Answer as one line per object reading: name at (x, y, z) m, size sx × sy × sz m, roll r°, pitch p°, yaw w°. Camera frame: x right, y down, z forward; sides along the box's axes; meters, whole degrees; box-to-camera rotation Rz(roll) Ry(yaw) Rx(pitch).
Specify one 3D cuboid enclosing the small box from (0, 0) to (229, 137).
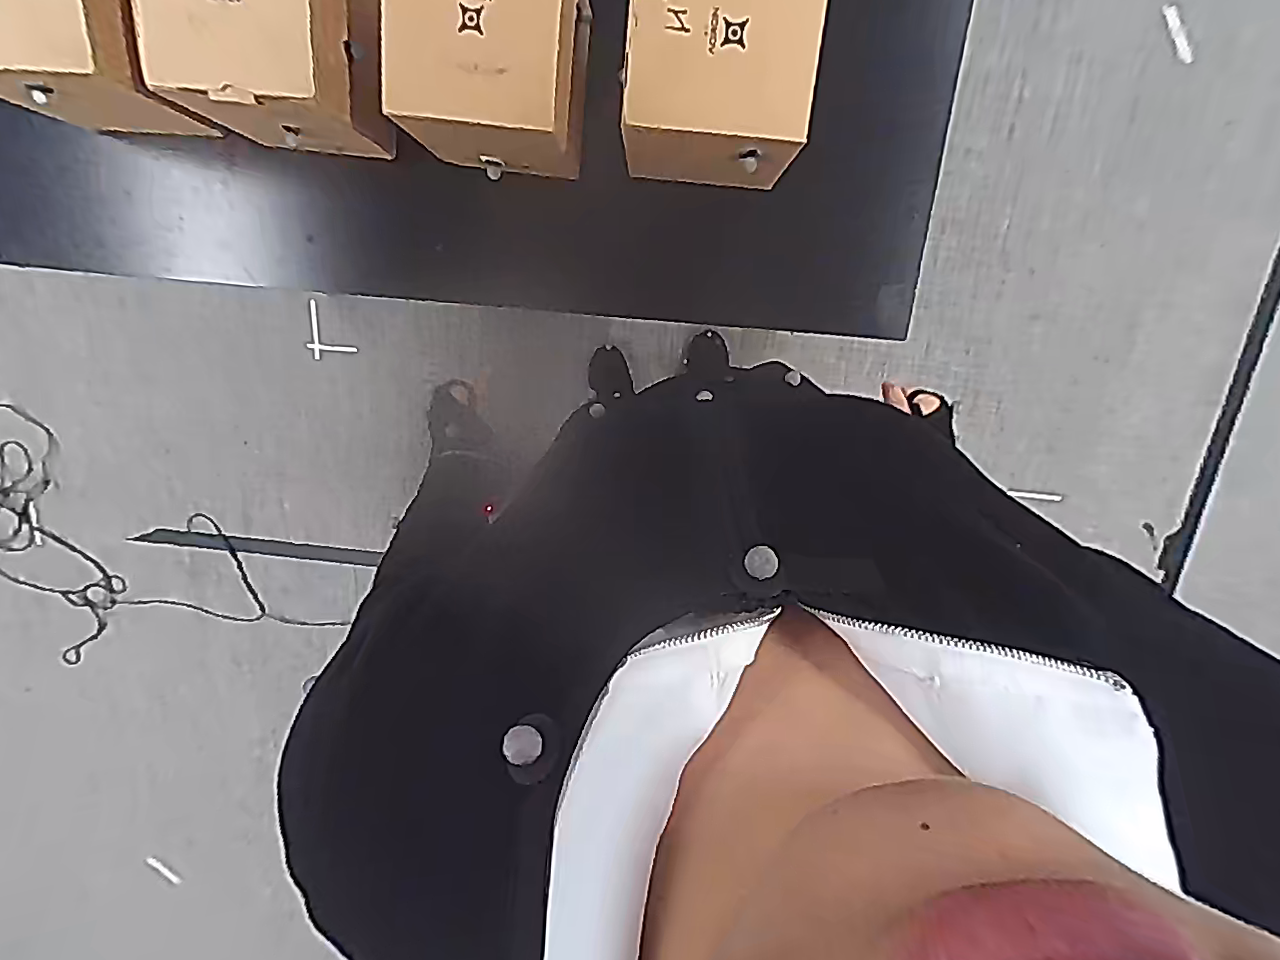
small box at (-0.587, -0.484, 0.570) m, size 0.179 × 0.176 × 0.168 m, roll 3°, pitch 105°, yaw -1°

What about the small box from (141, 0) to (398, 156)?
small box at (-0.373, -0.466, 0.571) m, size 0.168 × 0.176 × 0.179 m, roll 6°, pitch 105°, yaw 0°

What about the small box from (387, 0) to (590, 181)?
small box at (-0.148, -0.444, 0.573) m, size 0.168 × 0.176 × 0.179 m, roll 6°, pitch 105°, yaw 1°
